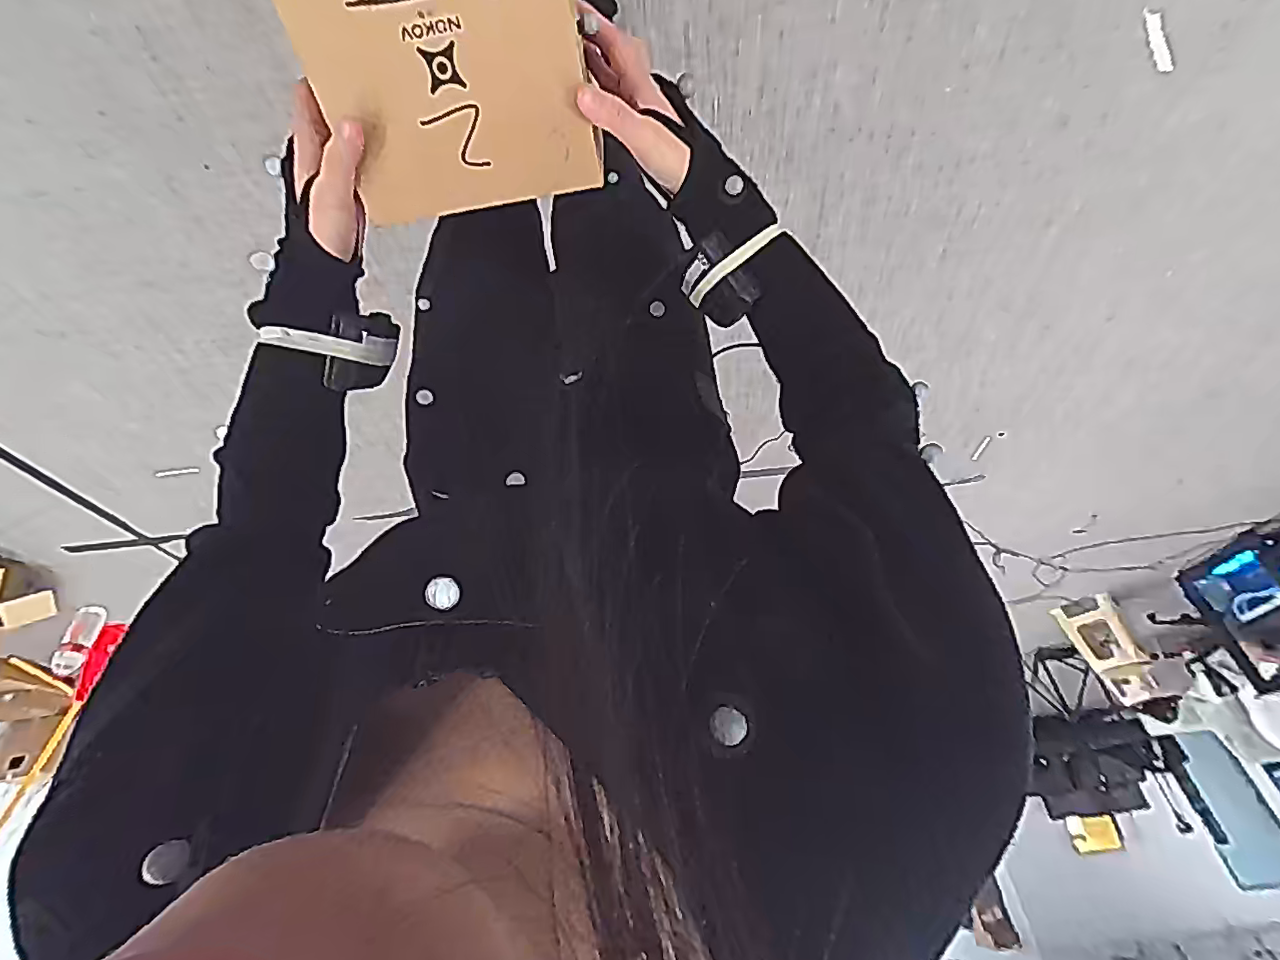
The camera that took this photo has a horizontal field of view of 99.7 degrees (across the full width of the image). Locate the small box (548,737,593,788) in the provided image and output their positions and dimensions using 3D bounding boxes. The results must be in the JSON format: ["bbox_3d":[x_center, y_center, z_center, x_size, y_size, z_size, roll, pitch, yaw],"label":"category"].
[{"bbox_3d":[-0.305,1.245,2.381,0.179,0.176,0.168,-6,145,-1],"label":"small box"}]
